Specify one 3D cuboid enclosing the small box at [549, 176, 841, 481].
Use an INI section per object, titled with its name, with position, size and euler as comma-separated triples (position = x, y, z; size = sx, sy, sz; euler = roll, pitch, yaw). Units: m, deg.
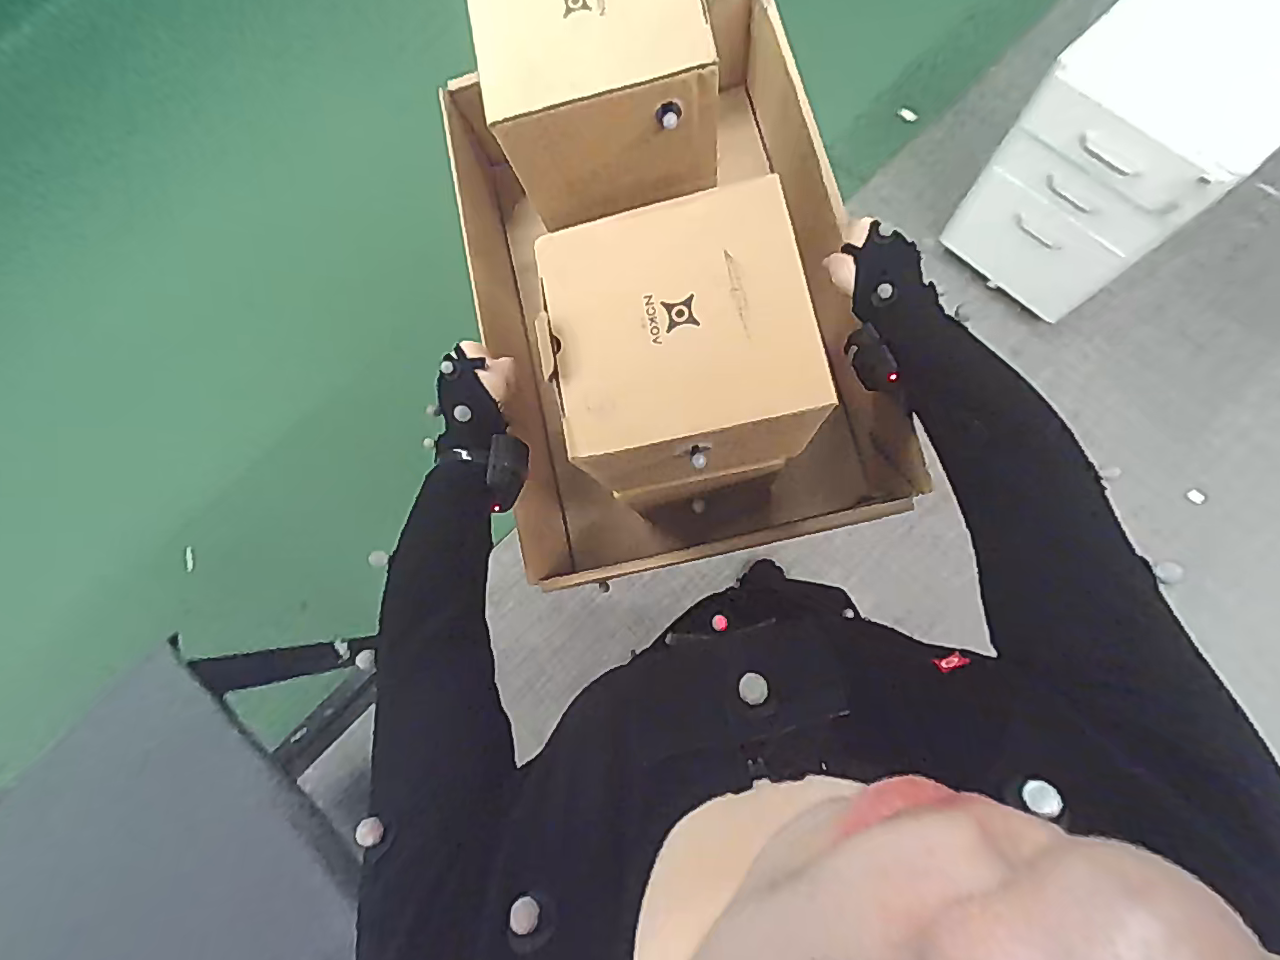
[small box]
position = 0.043, -0.102, 0.443
size = 0.179, 0.176, 0.168
euler = -11, 81, 6
